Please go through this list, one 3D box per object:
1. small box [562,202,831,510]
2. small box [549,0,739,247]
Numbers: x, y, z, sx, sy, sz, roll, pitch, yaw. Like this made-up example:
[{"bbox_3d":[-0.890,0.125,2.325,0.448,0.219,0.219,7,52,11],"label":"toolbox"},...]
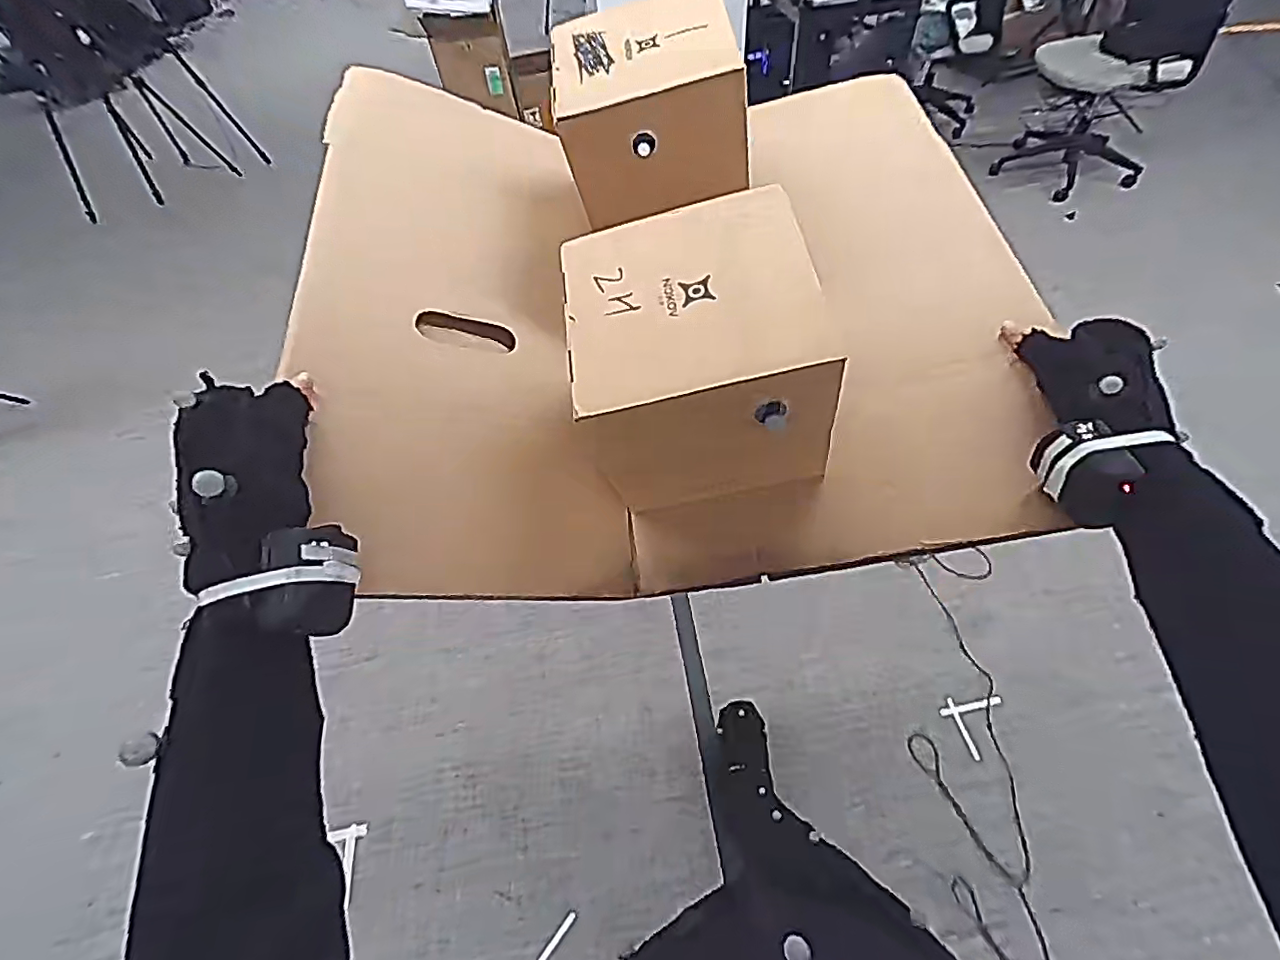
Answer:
[{"bbox_3d":[0.046,-0.090,0.459,0.179,0.176,0.168,-12,63,9],"label":"small box"},{"bbox_3d":[0.011,-0.370,0.600,0.179,0.176,0.168,-10,63,8],"label":"small box"}]
